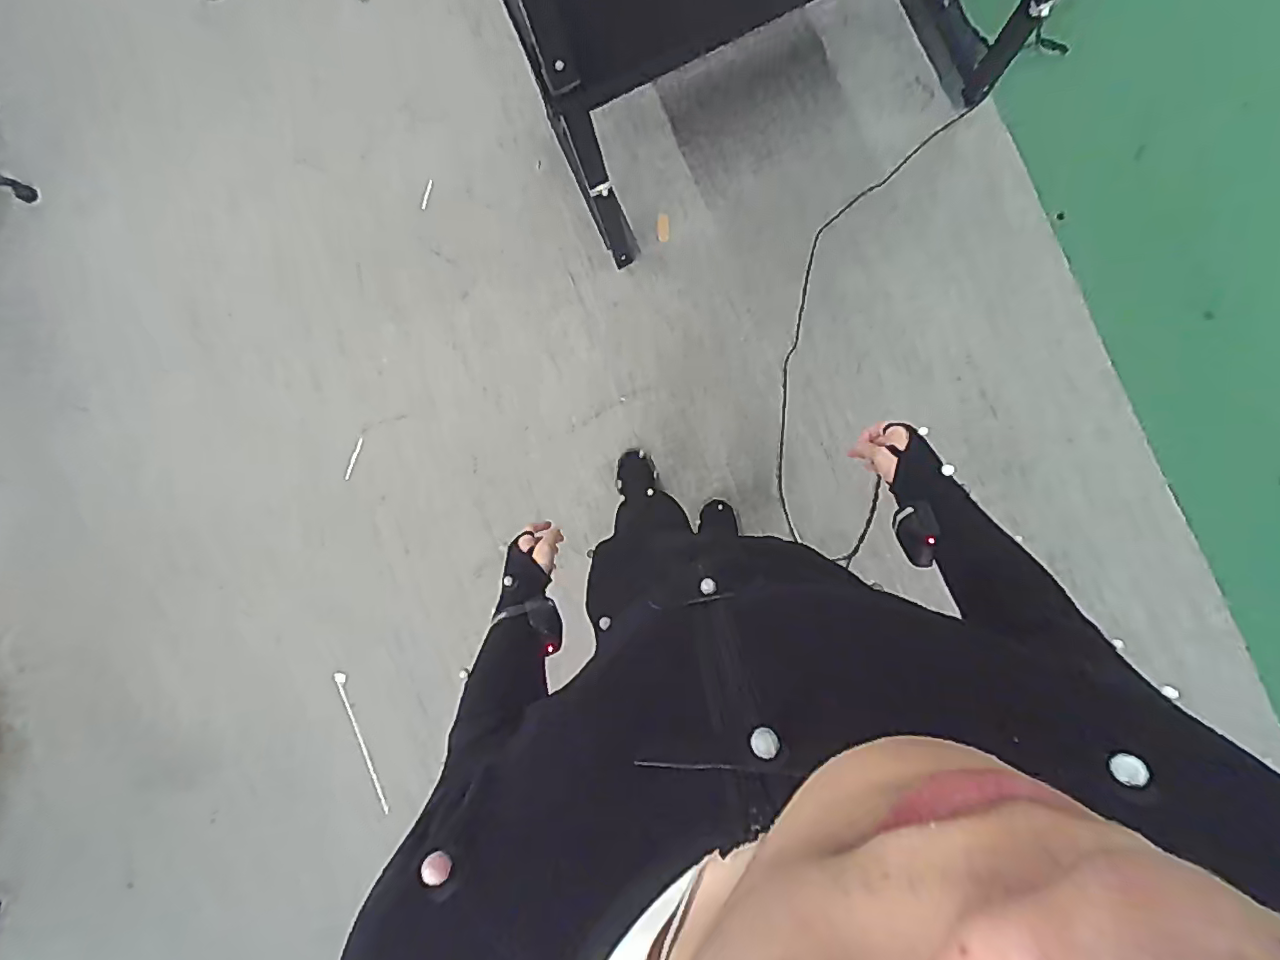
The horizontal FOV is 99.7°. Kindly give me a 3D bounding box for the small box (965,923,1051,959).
[{"bbox_3d":[1.007,1.326,1.428,0.179,0.176,0.168,-20,86,5],"label":"small box"}]
